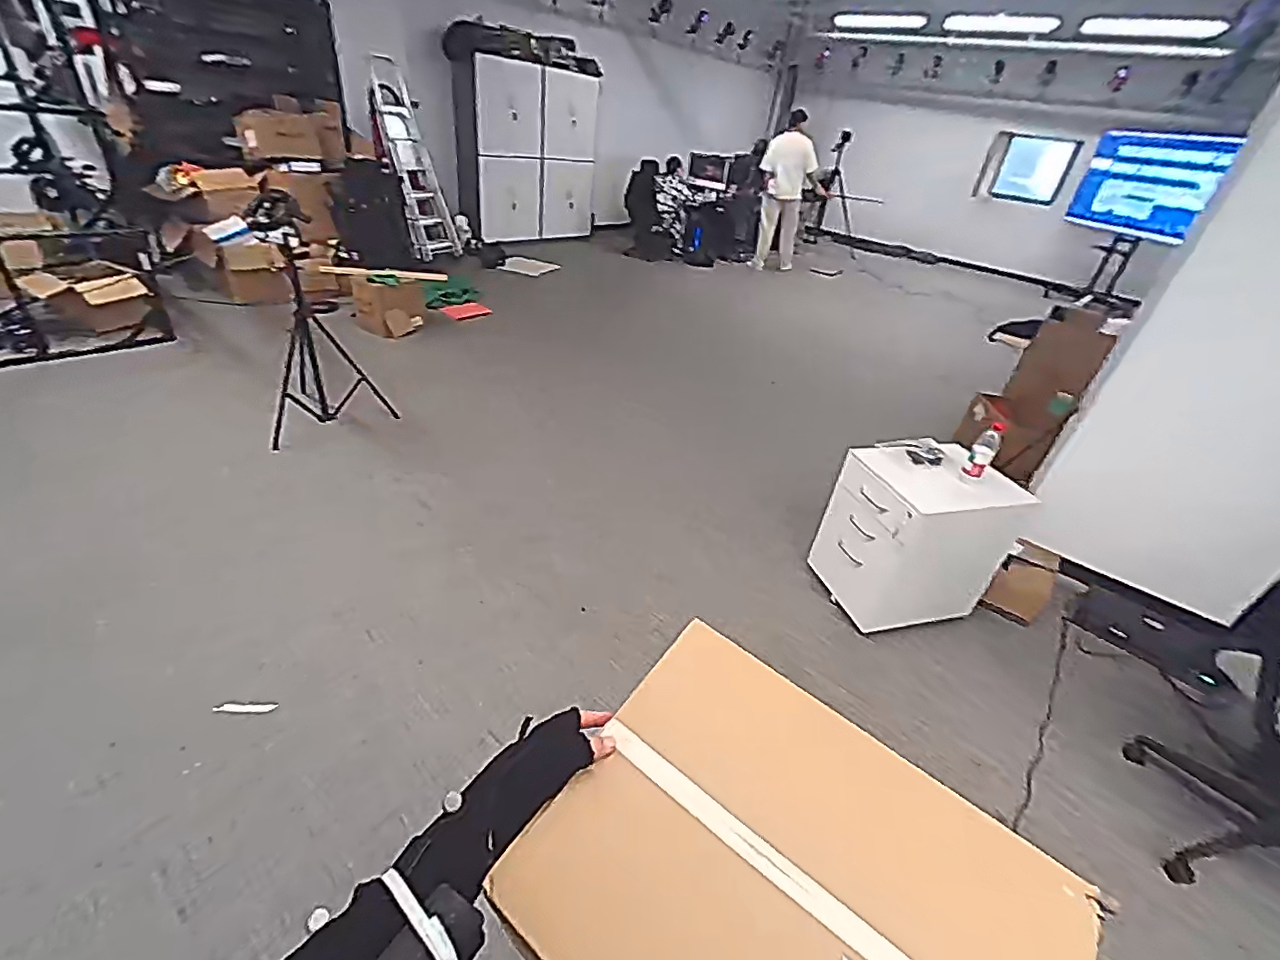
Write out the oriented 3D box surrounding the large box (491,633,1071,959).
[{"bbox_3d":[0.109,0.446,0.548,0.408,0.320,0.320,31,48,23],"label":"large box"}]
